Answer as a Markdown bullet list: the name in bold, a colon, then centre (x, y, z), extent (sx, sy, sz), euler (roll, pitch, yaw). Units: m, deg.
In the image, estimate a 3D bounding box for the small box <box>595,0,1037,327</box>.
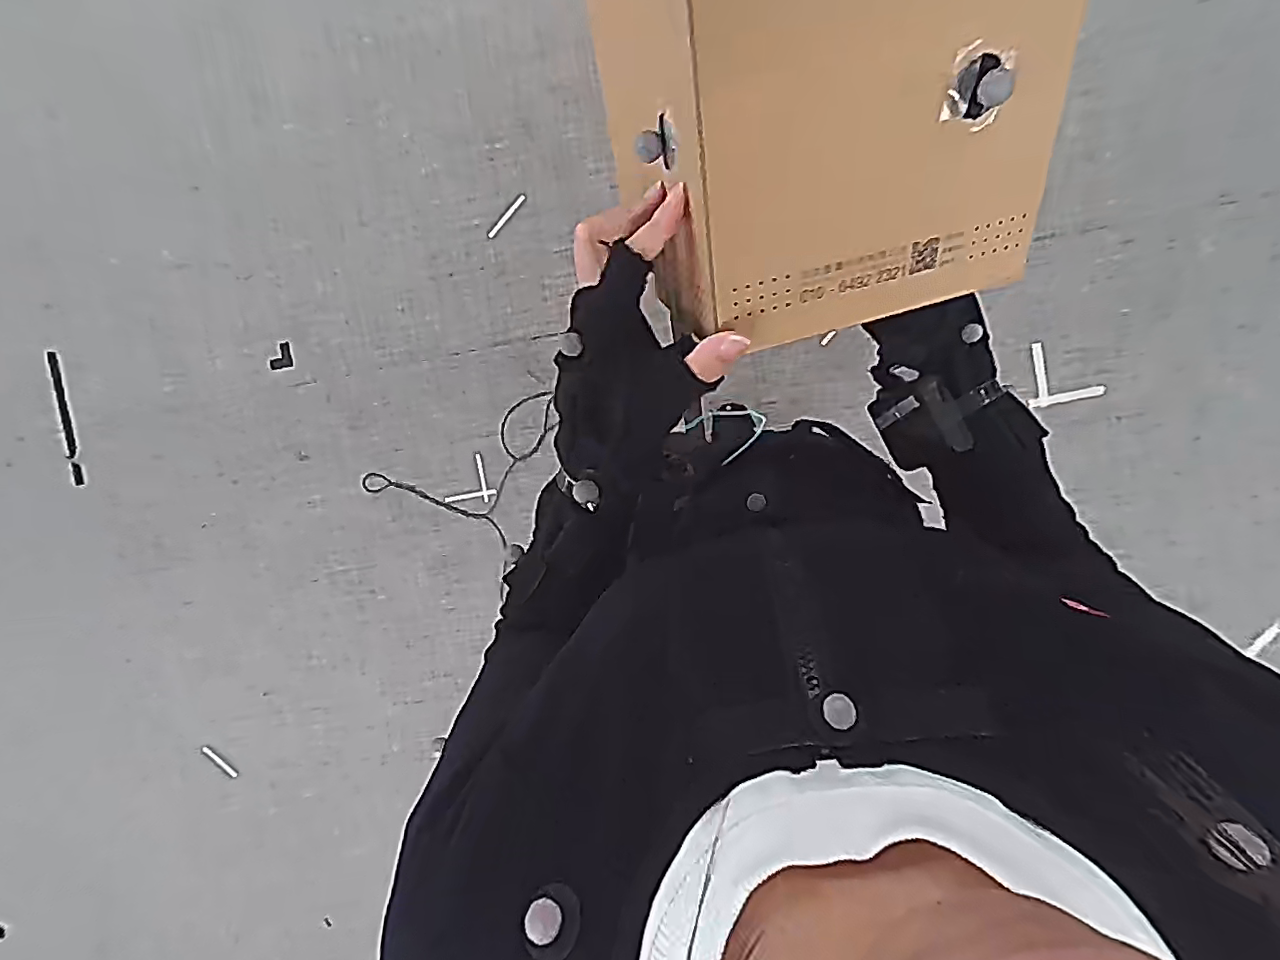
- **small box**: centre (0.084, -0.199, 0.303), extent (0.168, 0.179, 0.176), euler (-16, 126, -7)
